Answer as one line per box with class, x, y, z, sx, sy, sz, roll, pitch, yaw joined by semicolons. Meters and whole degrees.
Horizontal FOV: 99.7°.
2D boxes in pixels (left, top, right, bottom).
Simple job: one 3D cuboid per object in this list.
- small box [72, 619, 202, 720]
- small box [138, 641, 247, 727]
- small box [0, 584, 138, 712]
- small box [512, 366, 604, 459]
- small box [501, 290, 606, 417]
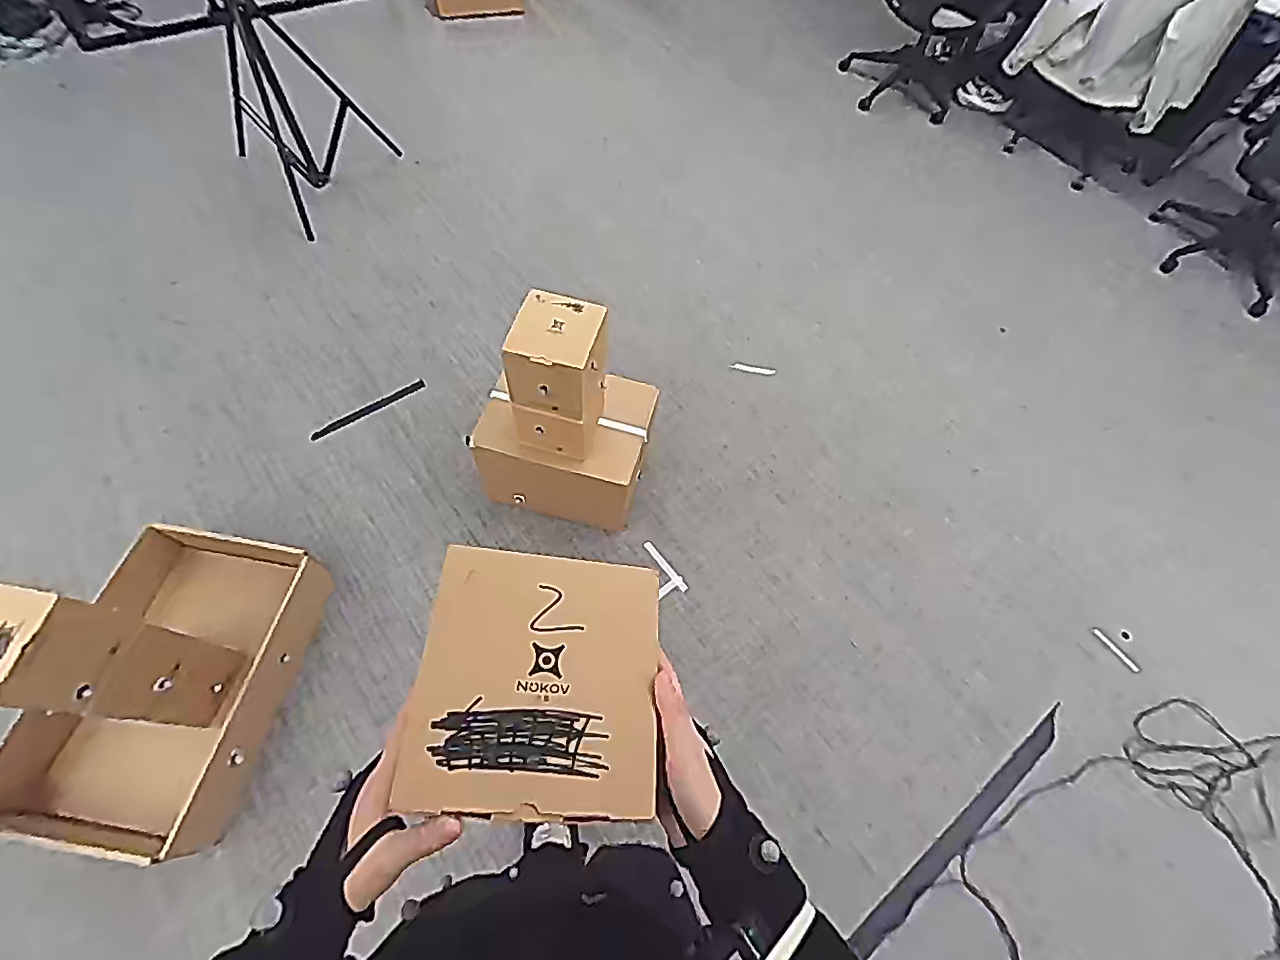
small box;-1.006;0.352;1.030;0.179;0.176;0.168;12;63;1
small box;-1.017;0.429;1.172;0.179;0.176;0.168;13;62;2
small box;-0.999;0.276;0.884;0.179;0.176;0.168;10;62;2
small box;-0.185;-0.173;1.273;0.168;0.176;0.179;14;62;2
small box;-0.172;-0.257;1.132;0.168;0.176;0.179;15;62;2
